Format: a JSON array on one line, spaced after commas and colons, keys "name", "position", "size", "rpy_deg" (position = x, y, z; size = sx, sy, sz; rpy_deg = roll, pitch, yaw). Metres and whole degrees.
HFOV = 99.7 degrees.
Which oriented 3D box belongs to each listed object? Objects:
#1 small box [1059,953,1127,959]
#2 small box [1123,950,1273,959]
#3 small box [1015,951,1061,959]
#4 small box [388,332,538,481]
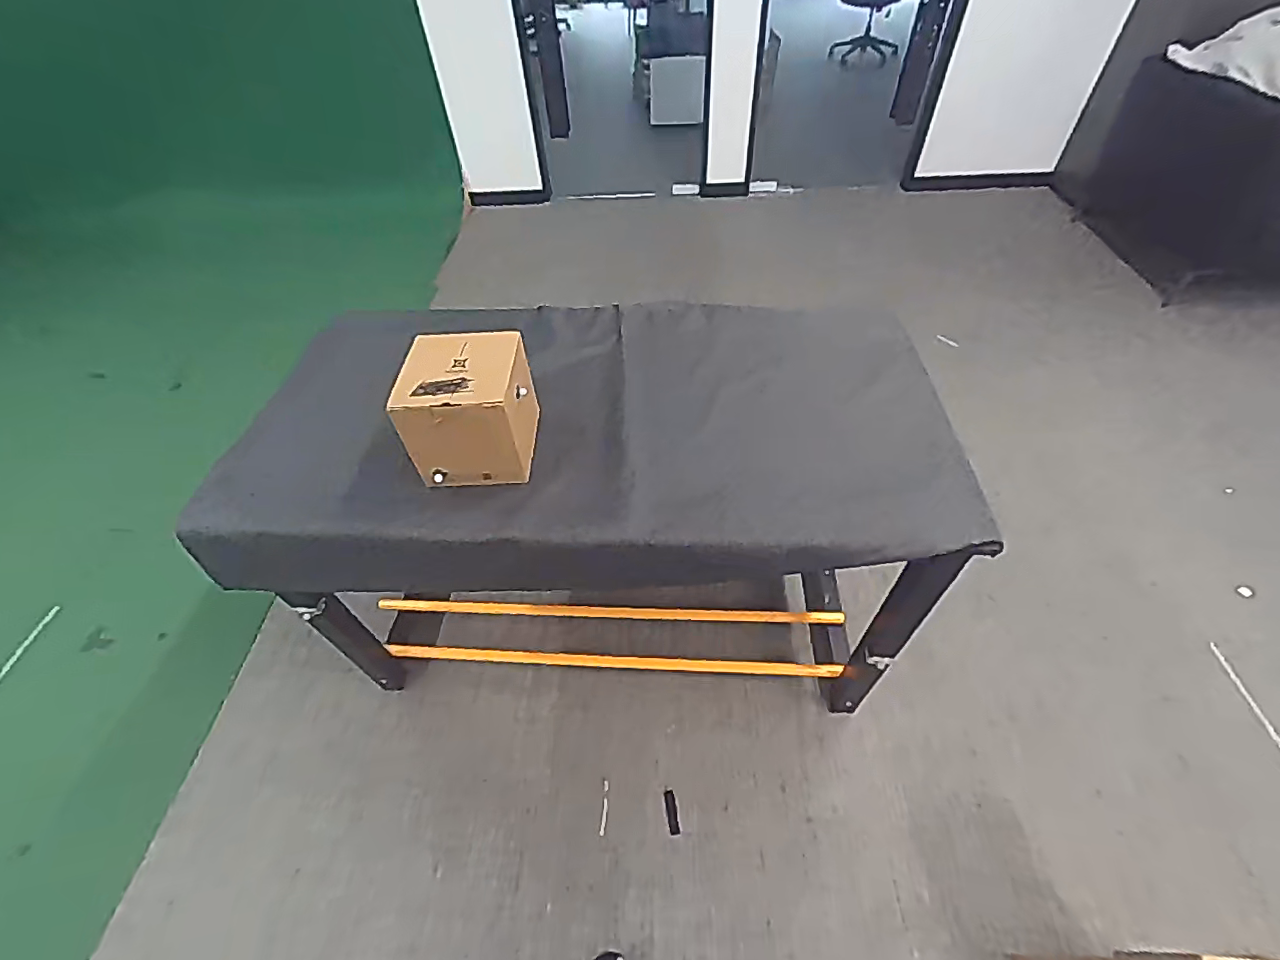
[{"name": "small box", "position": [0.749, 0.786, 0.759], "size": [0.168, 0.176, 0.179], "rpy_deg": [1, 48, 3]}, {"name": "small box", "position": [0.742, 0.673, 0.640], "size": [0.179, 0.176, 0.168], "rpy_deg": [1, 49, 4]}, {"name": "small box", "position": [0.760, 0.895, 0.880], "size": [0.168, 0.176, 0.179], "rpy_deg": [2, 51, 5]}, {"name": "small box", "position": [-0.263, -0.110, 0.851], "size": [0.168, 0.176, 0.179], "rpy_deg": [-2, 48, 1]}]
